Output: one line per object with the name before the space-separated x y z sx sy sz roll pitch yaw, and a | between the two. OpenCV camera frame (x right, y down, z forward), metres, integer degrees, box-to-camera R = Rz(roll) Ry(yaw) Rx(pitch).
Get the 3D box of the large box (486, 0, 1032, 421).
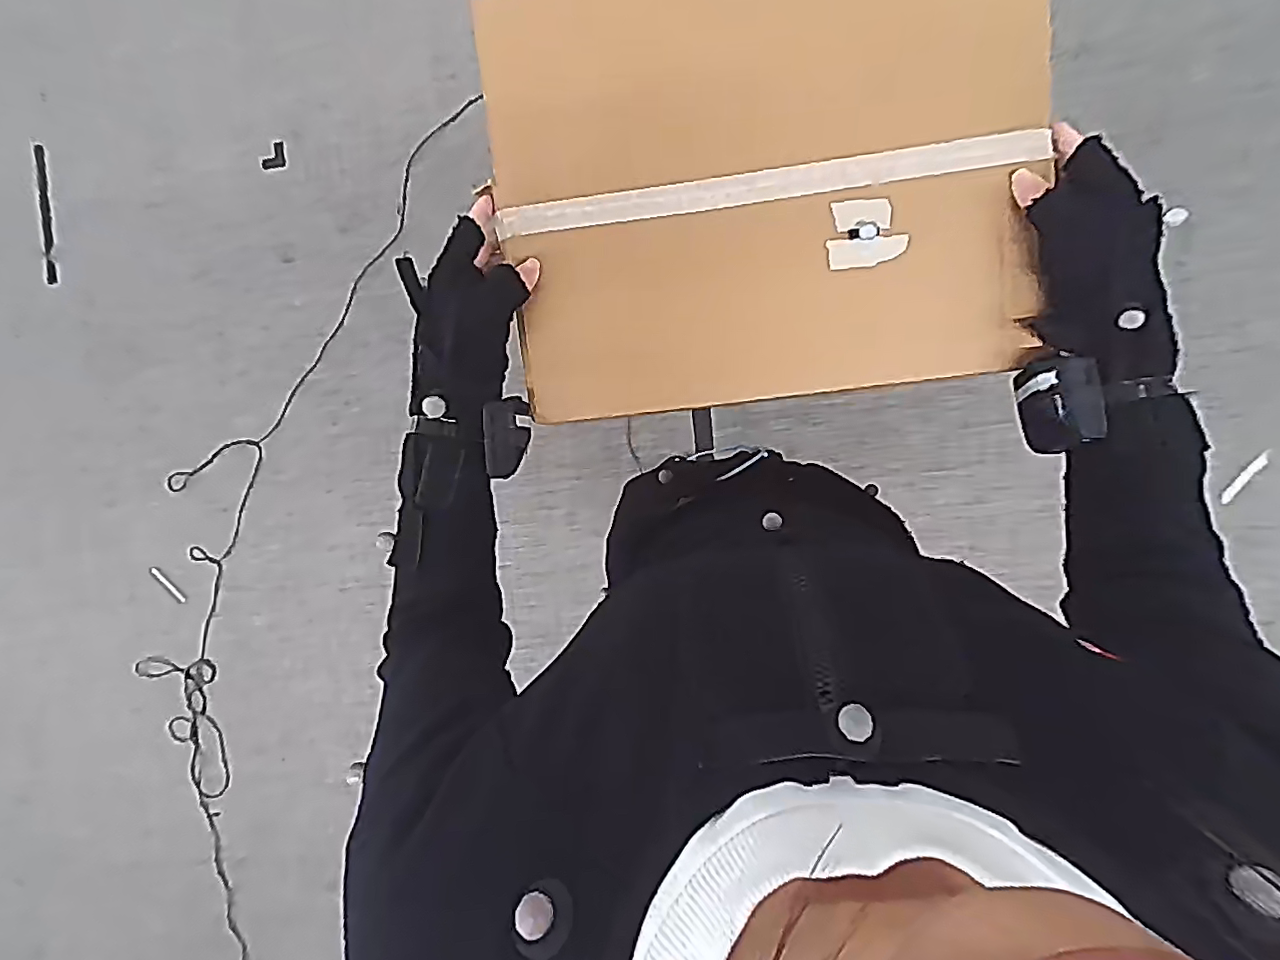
large box | 0.101 -0.243 0.567 0.408 0.320 0.320 -6 98 3
